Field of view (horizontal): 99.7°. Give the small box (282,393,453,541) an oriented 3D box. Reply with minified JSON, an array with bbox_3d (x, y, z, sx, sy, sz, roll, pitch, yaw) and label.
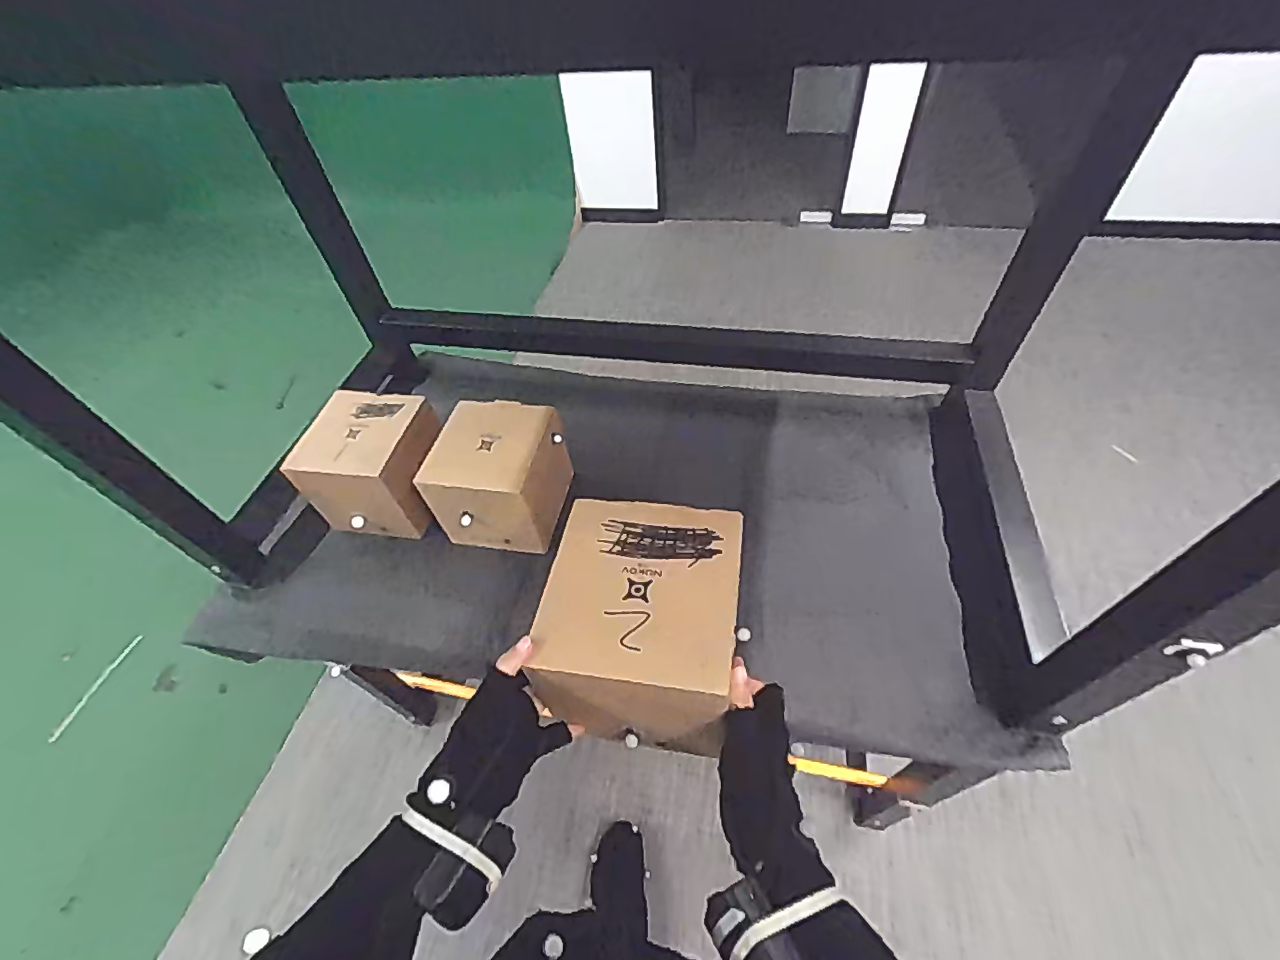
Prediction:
[{"bbox_3d":[-0.438,-0.021,0.907,0.168,0.176,0.179,5,51,10],"label":"small box"}]
